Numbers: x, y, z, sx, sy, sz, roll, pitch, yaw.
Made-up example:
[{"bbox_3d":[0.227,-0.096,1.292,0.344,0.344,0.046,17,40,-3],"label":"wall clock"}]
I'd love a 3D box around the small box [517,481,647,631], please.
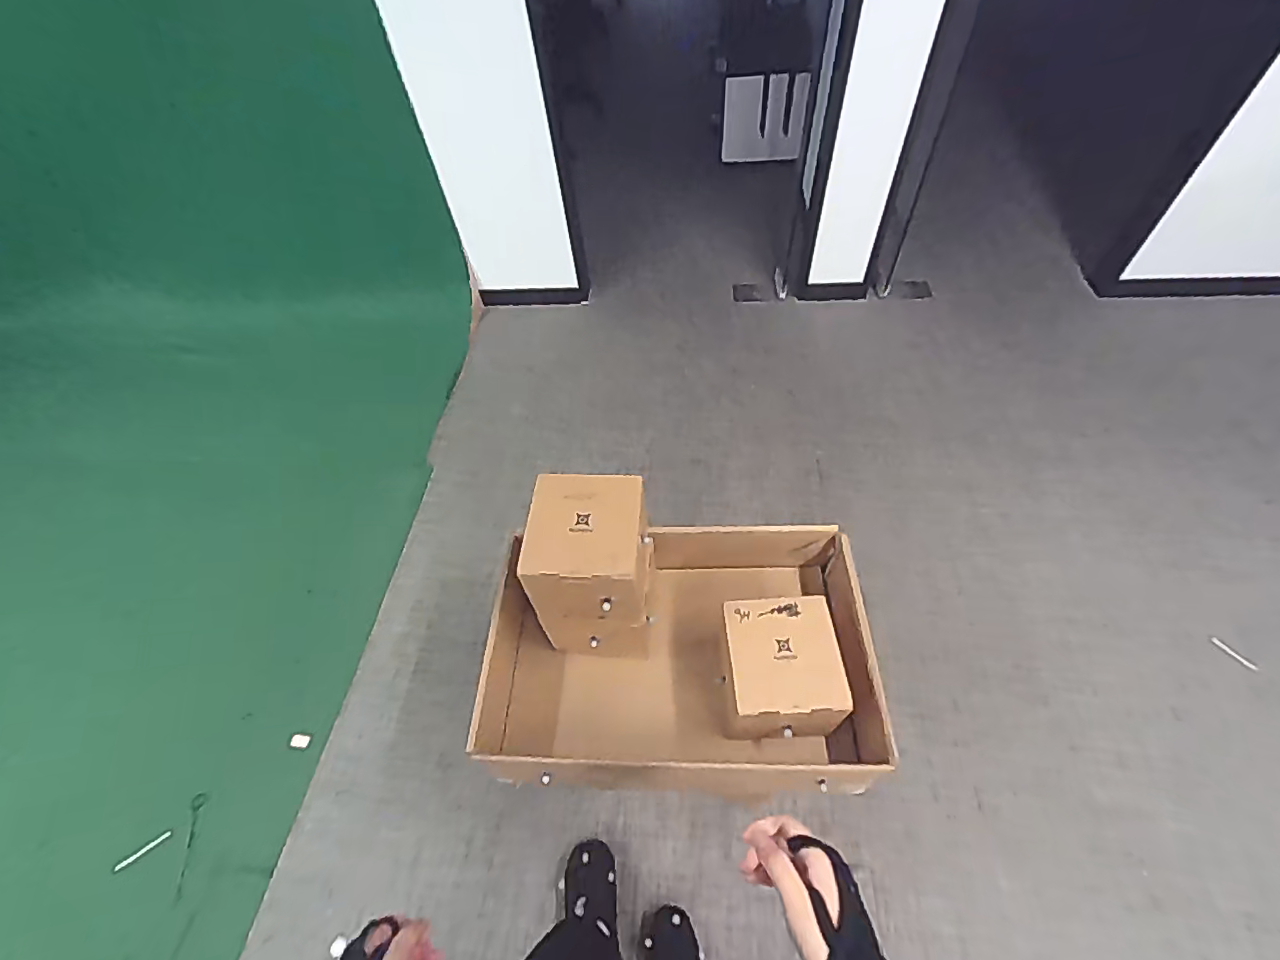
[{"bbox_3d":[-0.078,0.122,0.847,0.168,0.176,0.179,2,52,5],"label":"small box"}]
